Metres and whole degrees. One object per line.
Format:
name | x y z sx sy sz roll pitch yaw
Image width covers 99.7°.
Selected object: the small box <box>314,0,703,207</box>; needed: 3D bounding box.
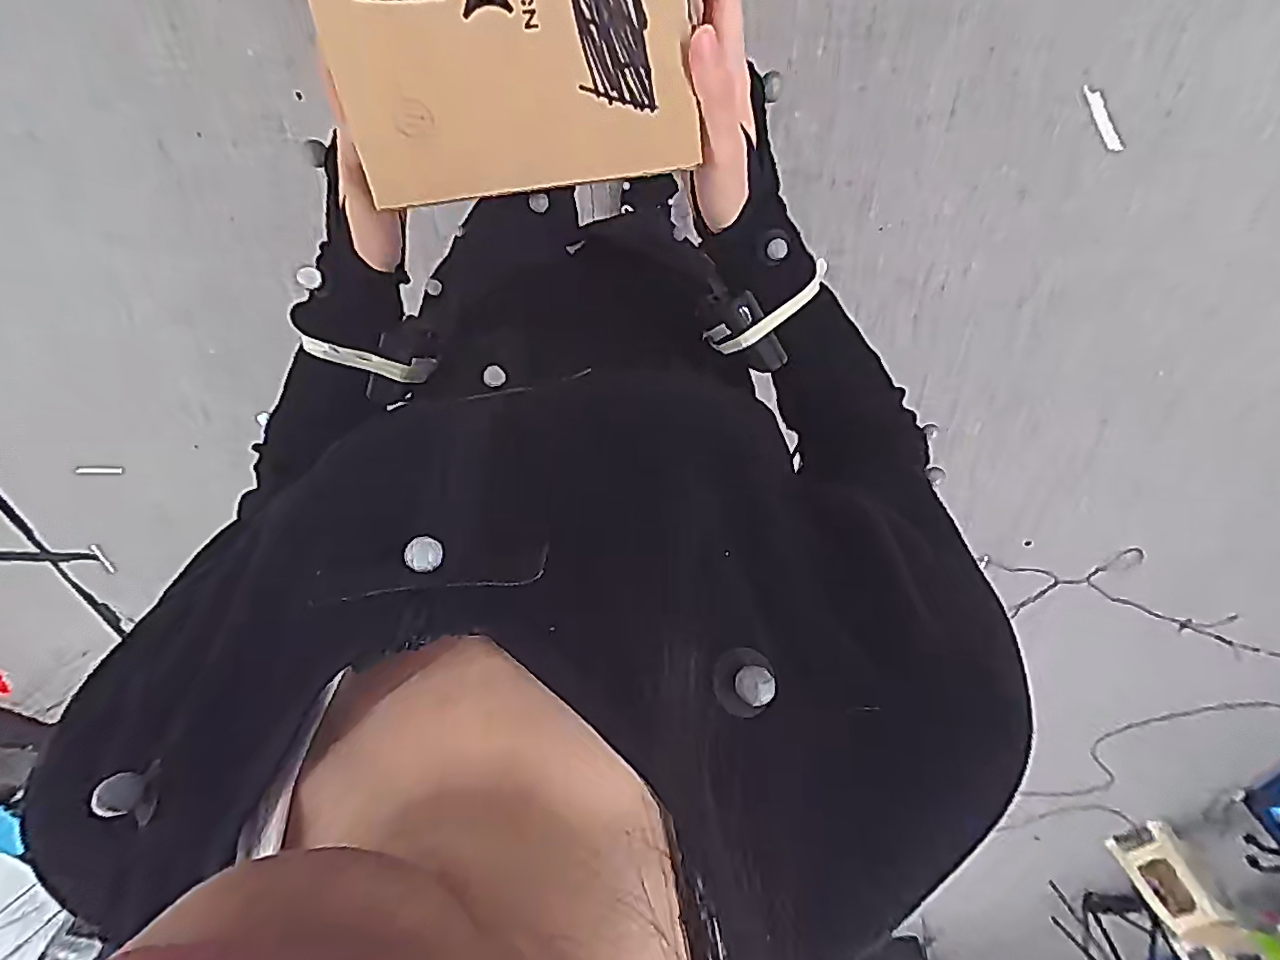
small box | -0.067 -0.265 0.313 0.179 0.176 0.168 -8 121 0
